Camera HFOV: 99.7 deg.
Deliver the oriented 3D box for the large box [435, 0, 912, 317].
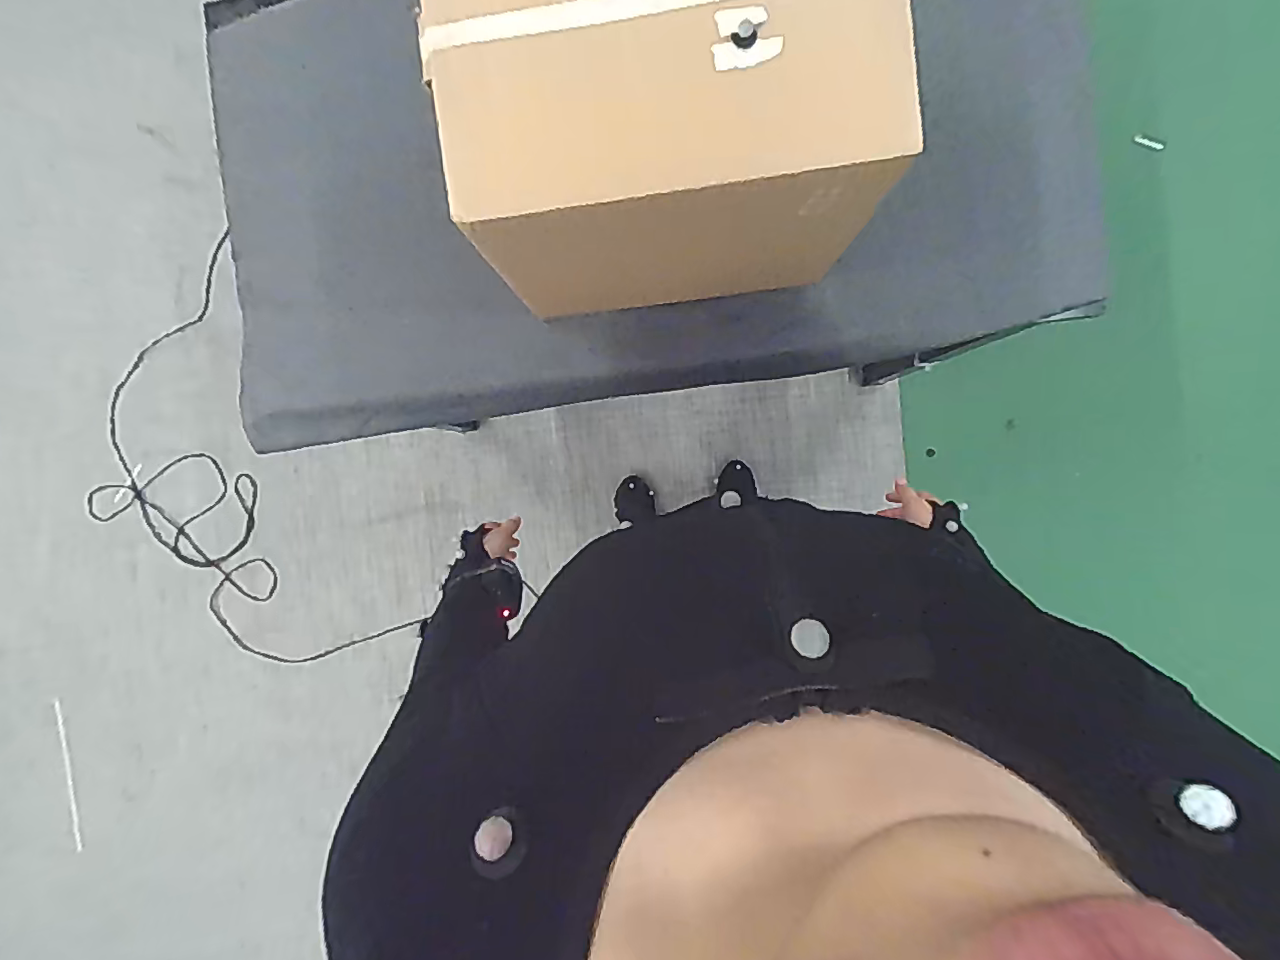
[{"bbox_3d":[0.025,-0.409,0.622,0.408,0.320,0.320,-8,91,3],"label":"large box"}]
